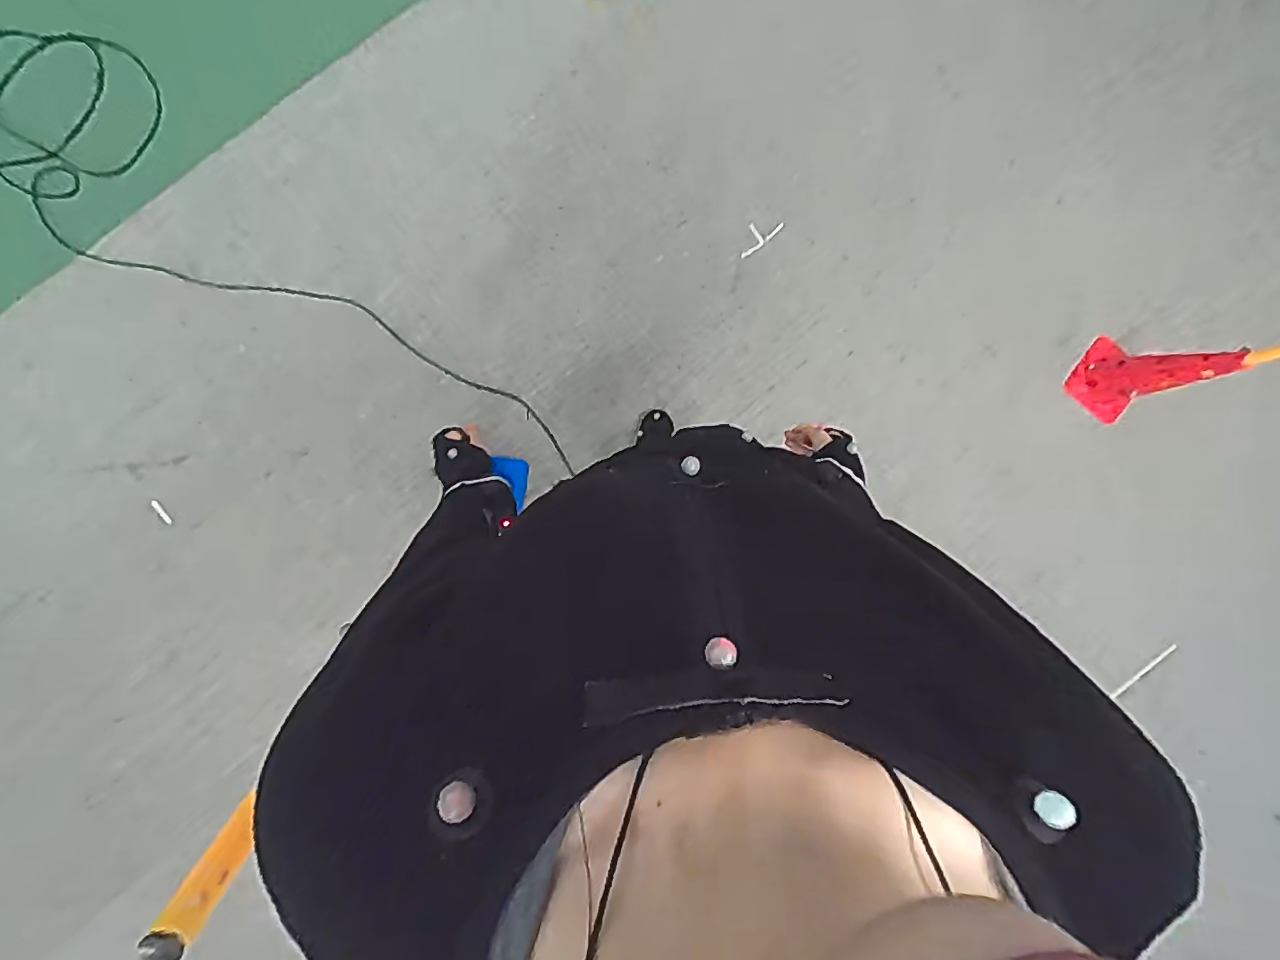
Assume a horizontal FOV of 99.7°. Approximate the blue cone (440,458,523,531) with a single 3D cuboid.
[{"bbox_3d":[-0.396,0.058,1.277,0.192,0.380,0.193,7,96,-7],"label":"blue cone"}]
